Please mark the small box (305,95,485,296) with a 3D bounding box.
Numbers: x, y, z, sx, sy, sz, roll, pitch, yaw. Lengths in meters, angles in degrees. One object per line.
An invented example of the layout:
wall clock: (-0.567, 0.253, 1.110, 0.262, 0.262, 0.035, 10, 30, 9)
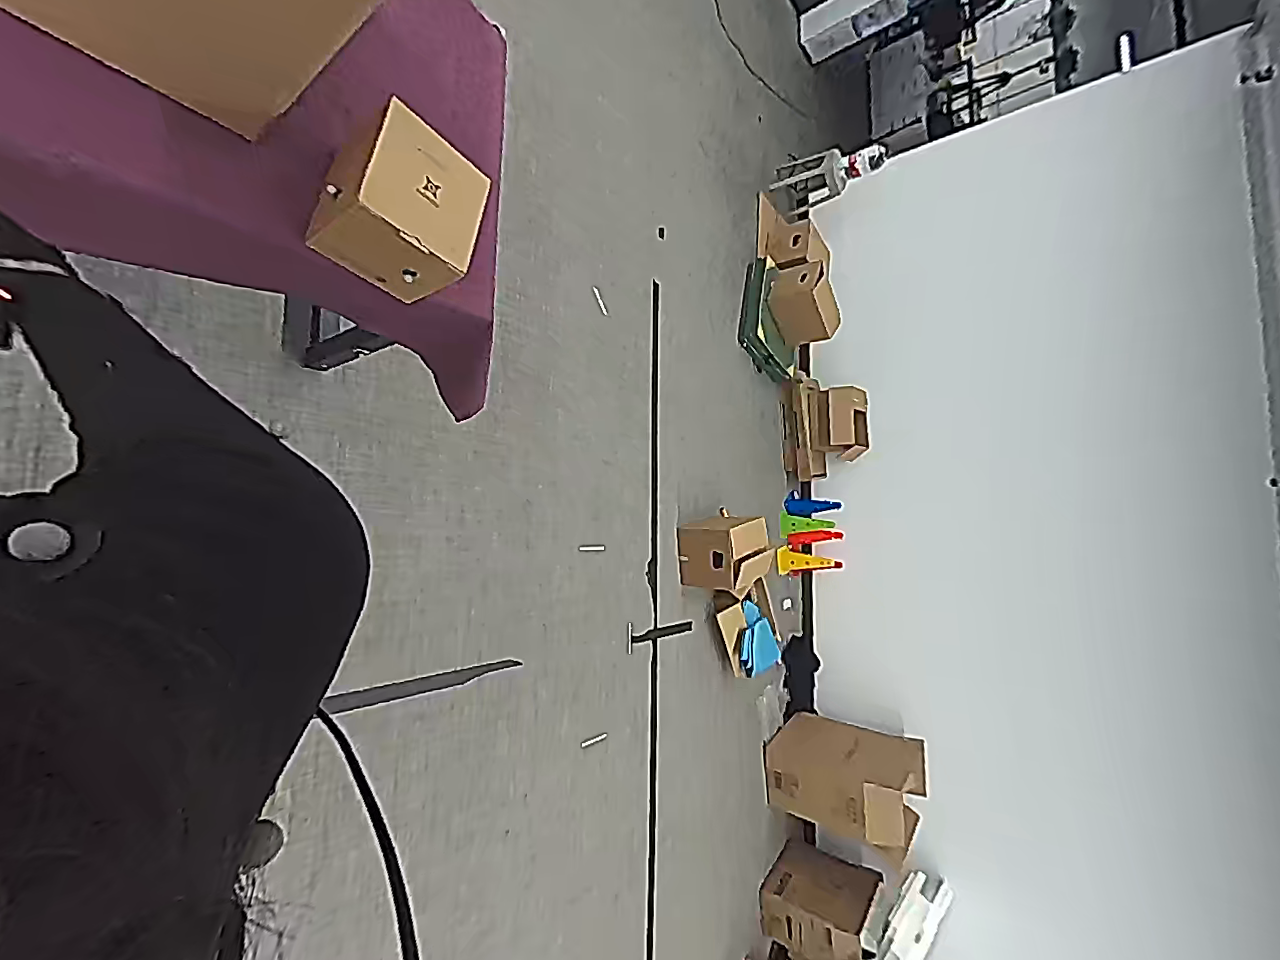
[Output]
small box: (-0.363, -0.403, 0.802, 0.168, 0.176, 0.179, 27, 65, -50)
